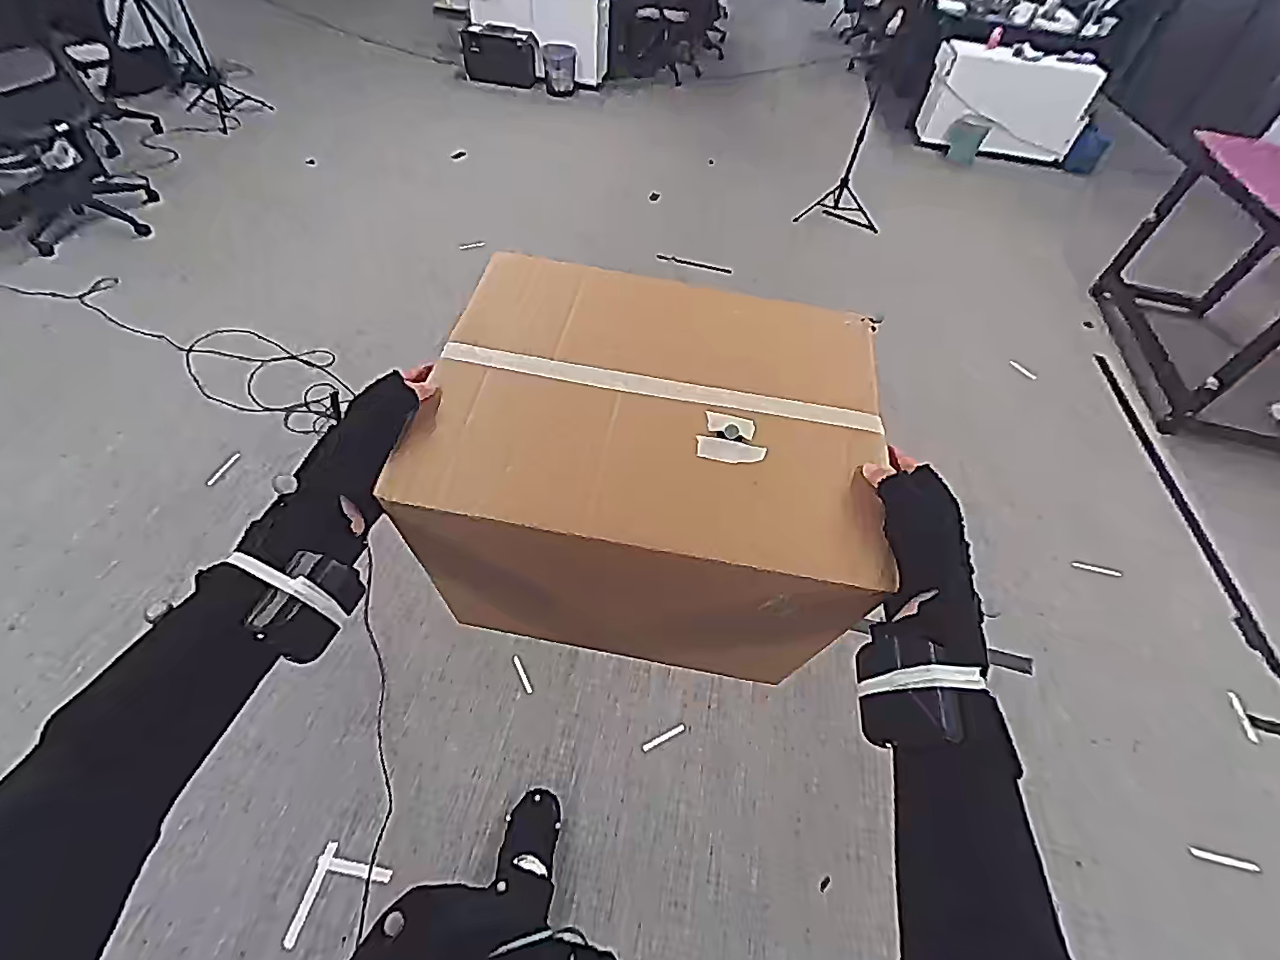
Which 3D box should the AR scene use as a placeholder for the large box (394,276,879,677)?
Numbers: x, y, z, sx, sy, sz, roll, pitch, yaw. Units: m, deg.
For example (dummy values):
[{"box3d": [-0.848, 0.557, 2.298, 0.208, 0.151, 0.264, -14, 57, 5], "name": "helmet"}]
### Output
[{"box3d": [0.003, 0.011, 0.636, 0.408, 0.320, 0.320, 10, 58, 1], "name": "large box"}]
